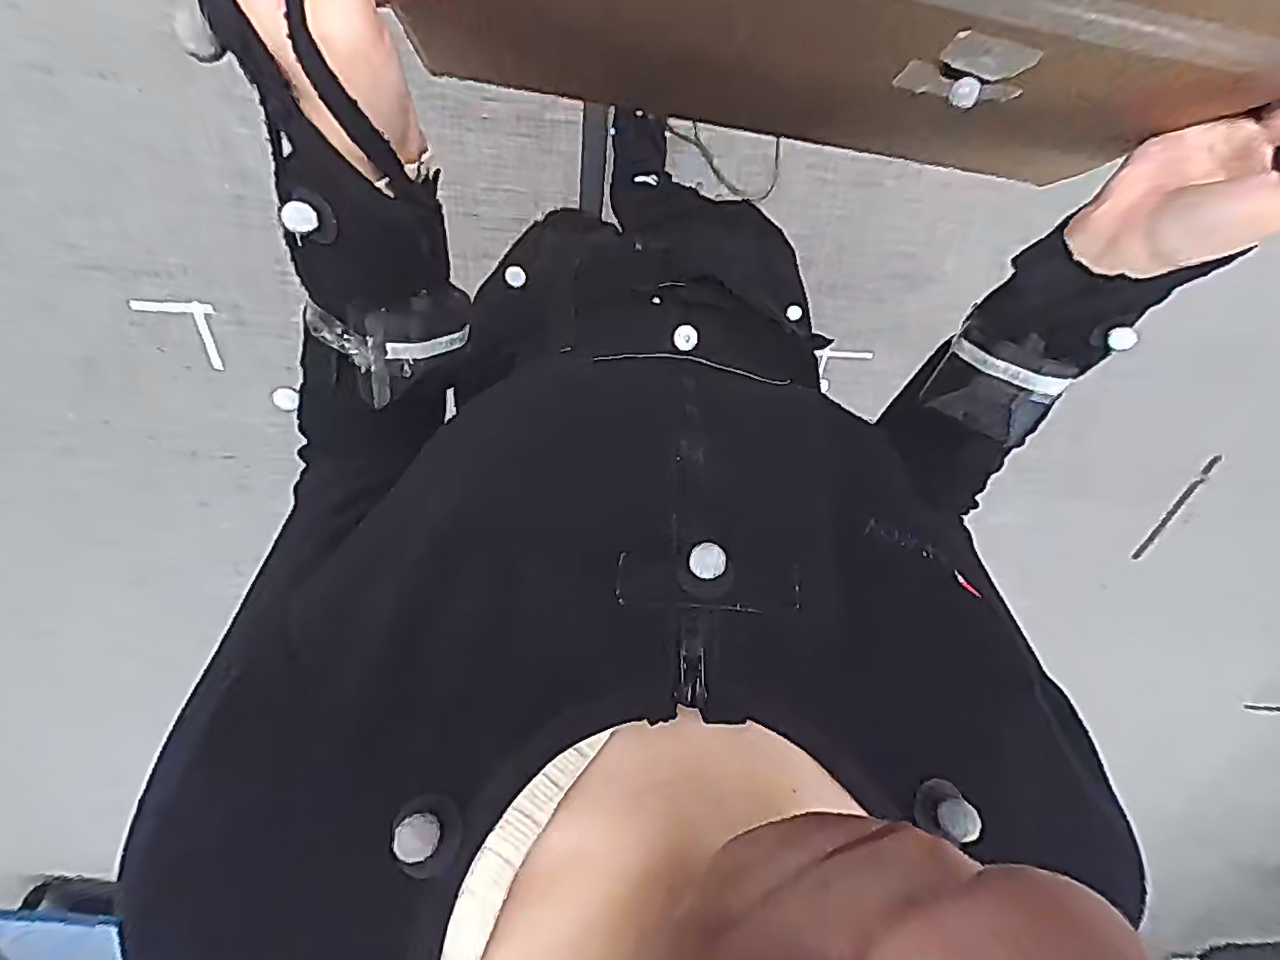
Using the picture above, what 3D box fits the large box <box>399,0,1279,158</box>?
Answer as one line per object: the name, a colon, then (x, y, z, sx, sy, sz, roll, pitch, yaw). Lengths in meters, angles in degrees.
large box: (0.101, -0.344, 0.162, 0.408, 0.320, 0.320, 4, 103, -7)
